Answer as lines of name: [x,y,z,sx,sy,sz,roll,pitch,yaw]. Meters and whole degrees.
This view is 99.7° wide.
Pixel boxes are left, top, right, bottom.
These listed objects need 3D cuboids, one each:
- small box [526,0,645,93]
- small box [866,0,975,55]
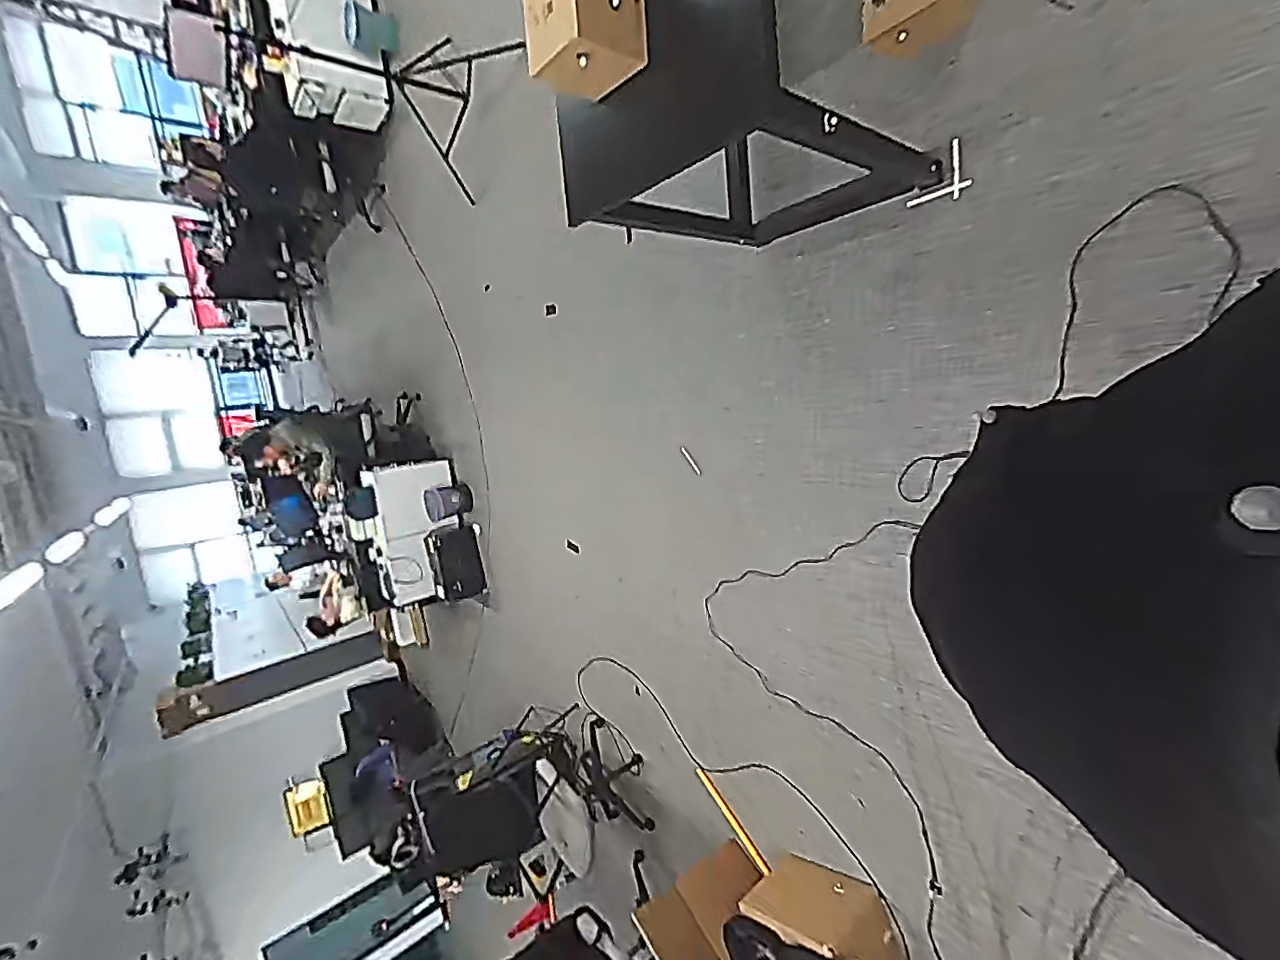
small box: [-0.101,-0.893,1.047,0.179,0.176,0.168,10,108,50]
small box: [0.640,-1.124,1.237,0.179,0.176,0.168,4,104,50]
